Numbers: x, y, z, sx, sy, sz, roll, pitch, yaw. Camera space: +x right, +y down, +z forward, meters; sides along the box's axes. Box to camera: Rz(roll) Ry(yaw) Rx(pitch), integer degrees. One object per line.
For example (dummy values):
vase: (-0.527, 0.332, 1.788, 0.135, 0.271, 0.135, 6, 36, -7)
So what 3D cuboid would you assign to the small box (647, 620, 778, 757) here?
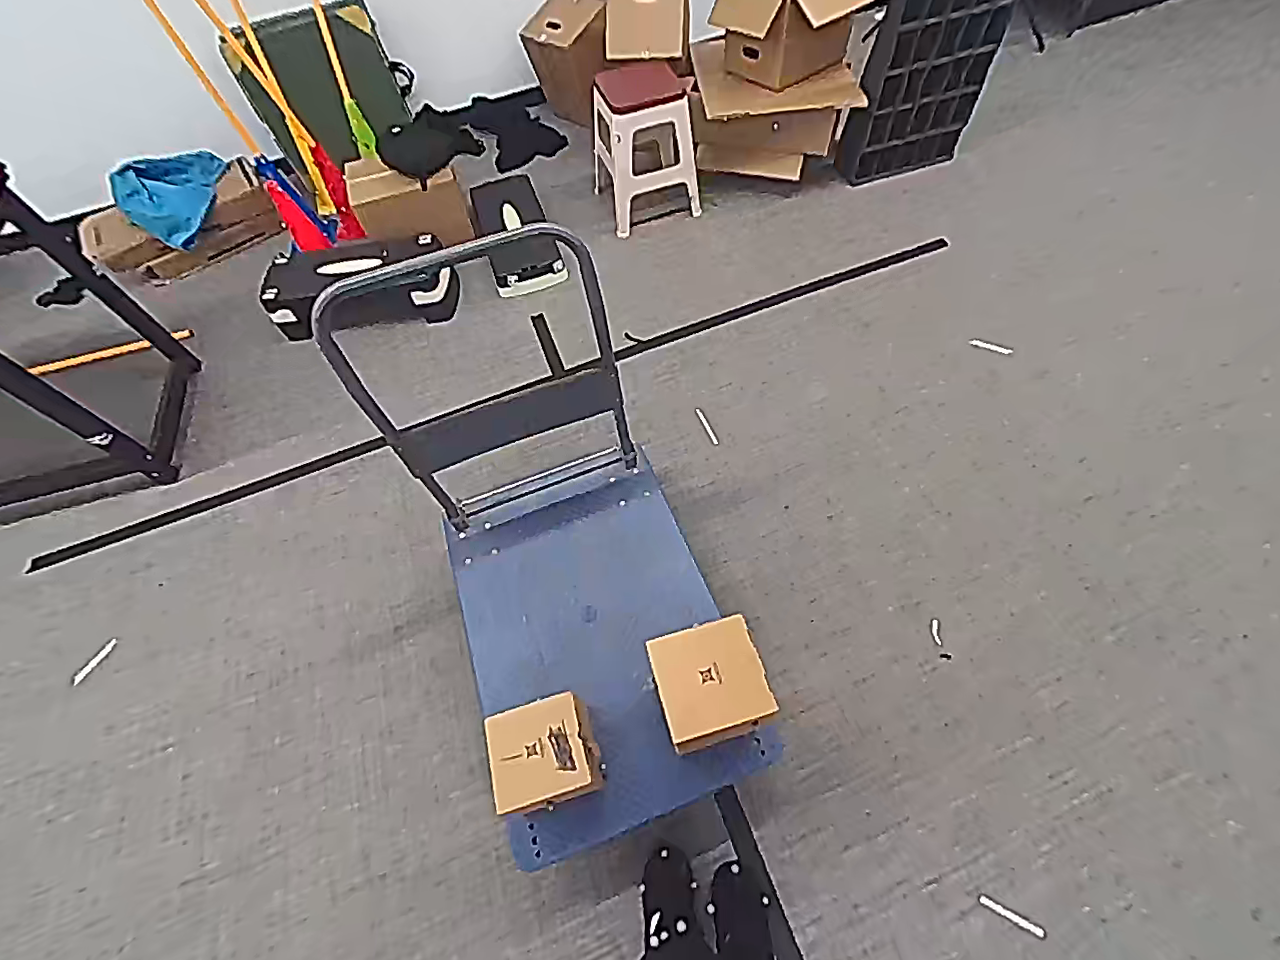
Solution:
small box: (0.120, 0.369, 0.945, 0.179, 0.176, 0.168, -15, 58, -5)

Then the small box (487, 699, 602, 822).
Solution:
small box: (-0.179, 0.546, 1.056, 0.179, 0.176, 0.168, -17, 59, -4)
